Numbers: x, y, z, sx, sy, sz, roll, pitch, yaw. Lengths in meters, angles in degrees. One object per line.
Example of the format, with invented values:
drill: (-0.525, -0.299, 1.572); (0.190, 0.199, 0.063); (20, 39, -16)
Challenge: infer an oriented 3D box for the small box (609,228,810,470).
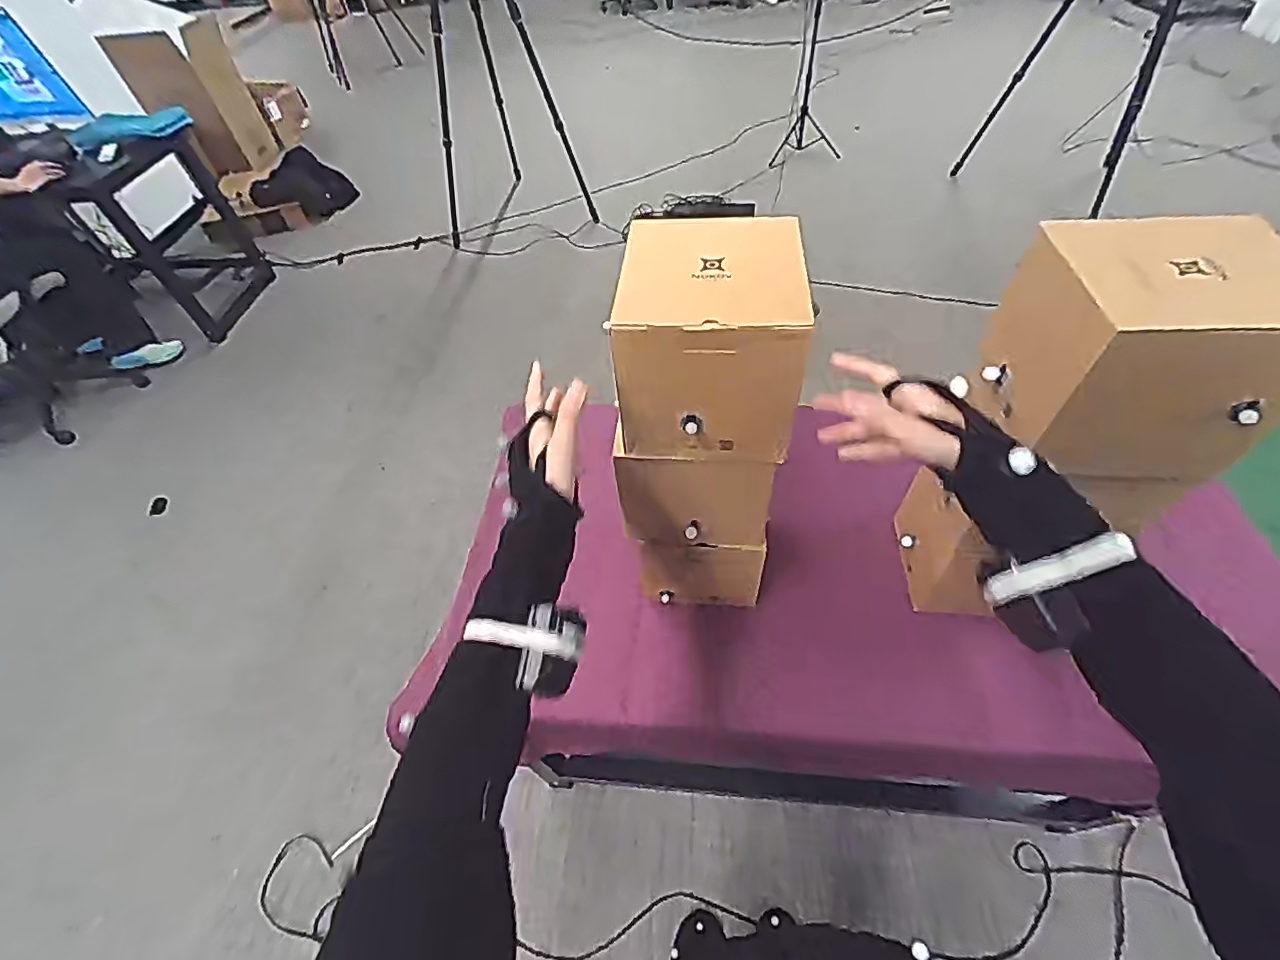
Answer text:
small box: (0.067, -0.132, 0.549); (0.168, 0.176, 0.179); (1, 52, 6)

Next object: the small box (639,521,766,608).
small box: (0.094, 0.076, 0.801); (0.168, 0.176, 0.179); (1, 51, 6)

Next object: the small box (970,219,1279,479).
small box: (0.442, -0.114, 0.493); (0.179, 0.176, 0.168); (2, 51, 8)

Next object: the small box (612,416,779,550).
small box: (0.070, -0.026, 0.674); (0.179, 0.176, 0.168); (2, 51, 7)

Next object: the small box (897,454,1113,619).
small box: (0.484, 0.082, 0.753); (0.179, 0.176, 0.168); (2, 51, 7)
